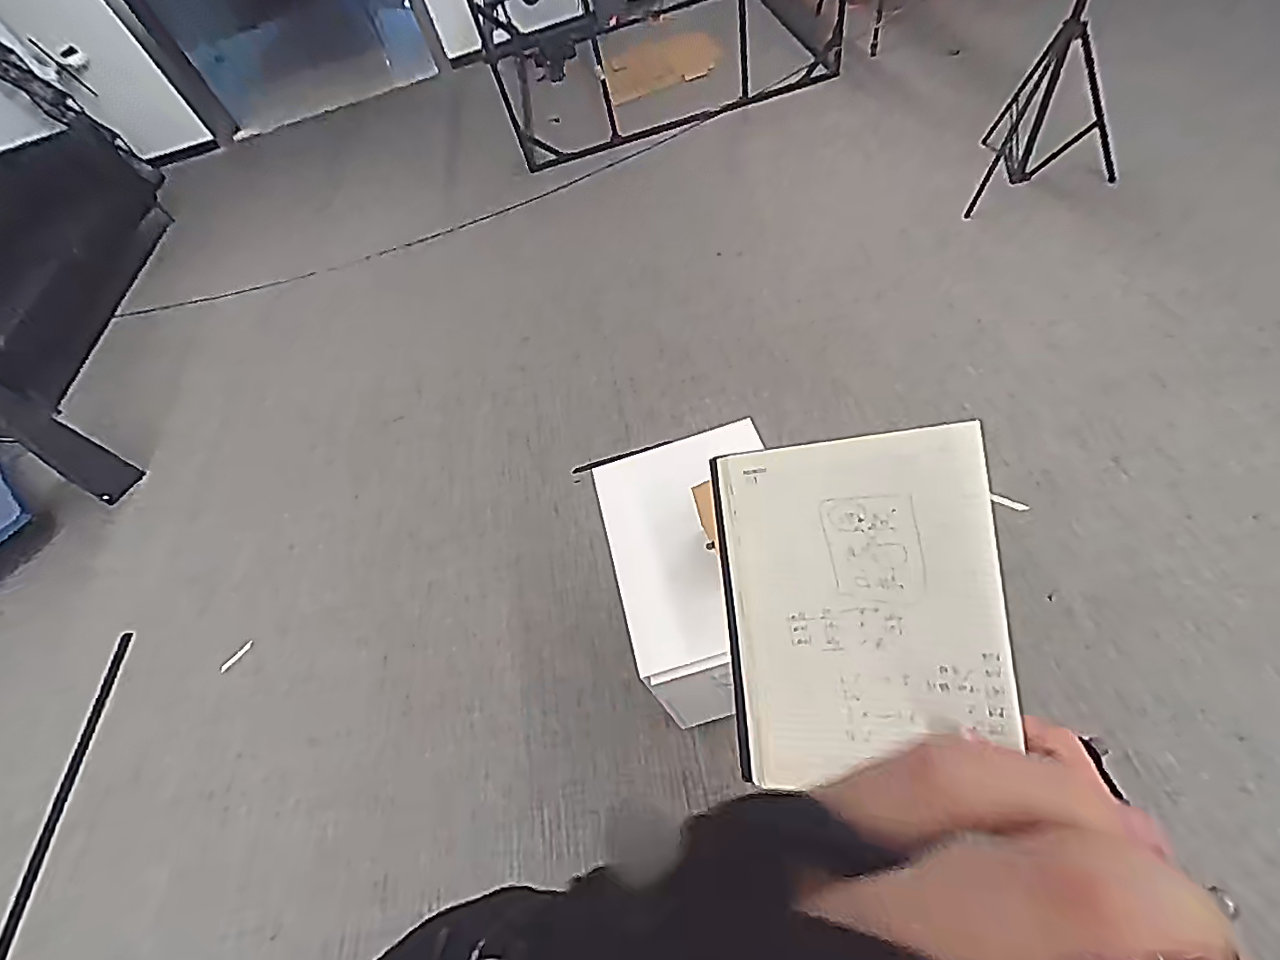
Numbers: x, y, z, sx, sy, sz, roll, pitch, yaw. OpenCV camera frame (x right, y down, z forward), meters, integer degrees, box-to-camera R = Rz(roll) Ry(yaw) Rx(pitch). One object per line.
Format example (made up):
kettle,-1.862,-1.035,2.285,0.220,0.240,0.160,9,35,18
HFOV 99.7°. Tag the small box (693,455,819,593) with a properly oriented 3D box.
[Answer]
small box,0.220,0.088,1.039,0.179,0.176,0.168,-25,54,-2
